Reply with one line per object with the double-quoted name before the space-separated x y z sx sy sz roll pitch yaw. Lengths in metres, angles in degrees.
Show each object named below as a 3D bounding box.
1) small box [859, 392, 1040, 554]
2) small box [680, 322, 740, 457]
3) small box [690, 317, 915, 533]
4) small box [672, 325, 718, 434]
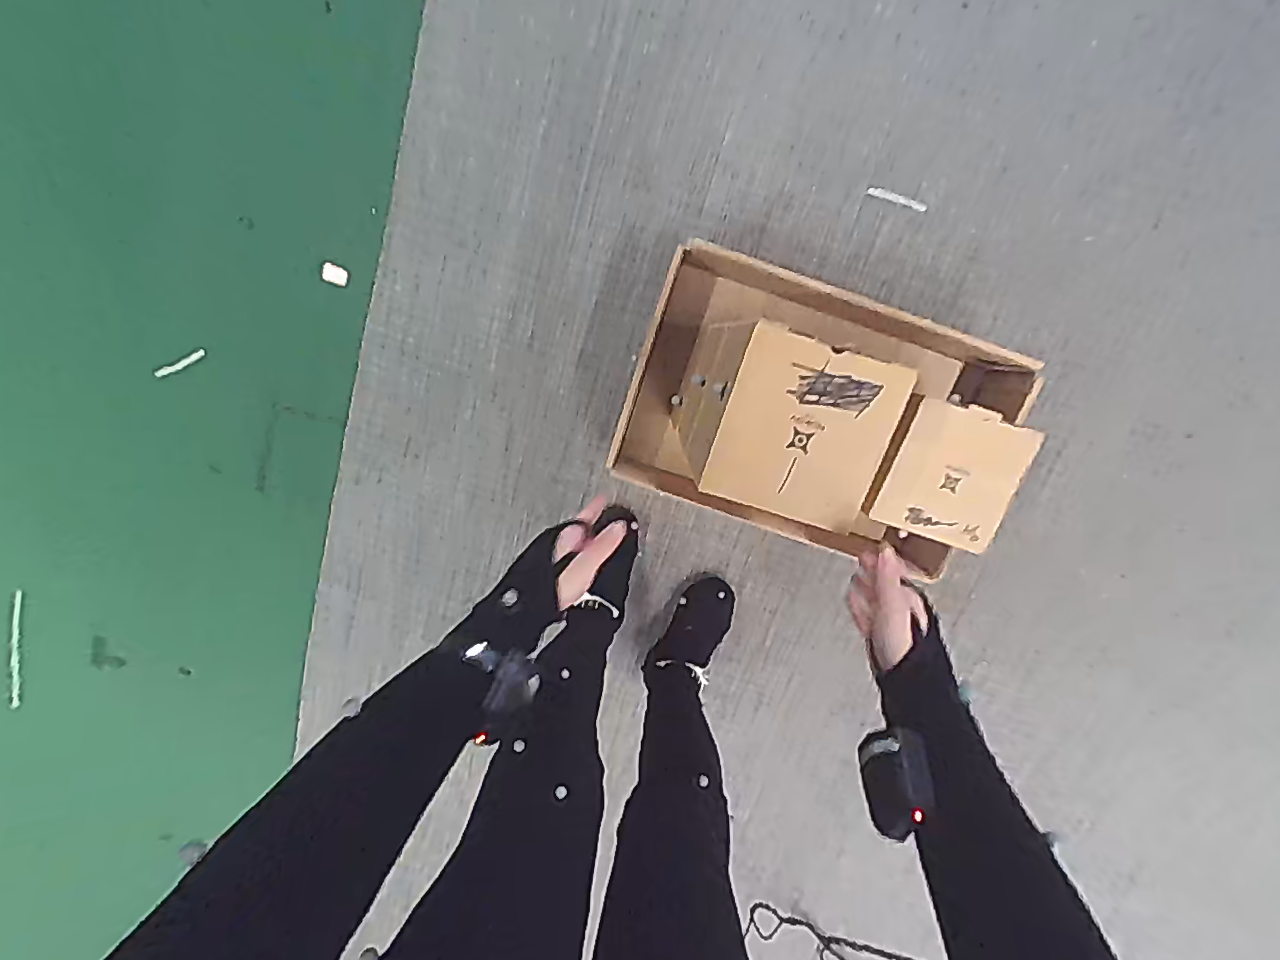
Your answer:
"small box" 0.408 -0.023 0.777 0.168 0.176 0.179 19 103 -1
"small box" 0.159 -0.110 0.764 0.168 0.176 0.179 17 103 -3
"small box" 0.160 -0.068 0.605 0.168 0.176 0.179 18 104 -3
"small box" 0.158 -0.150 0.920 0.168 0.176 0.179 18 104 -4
